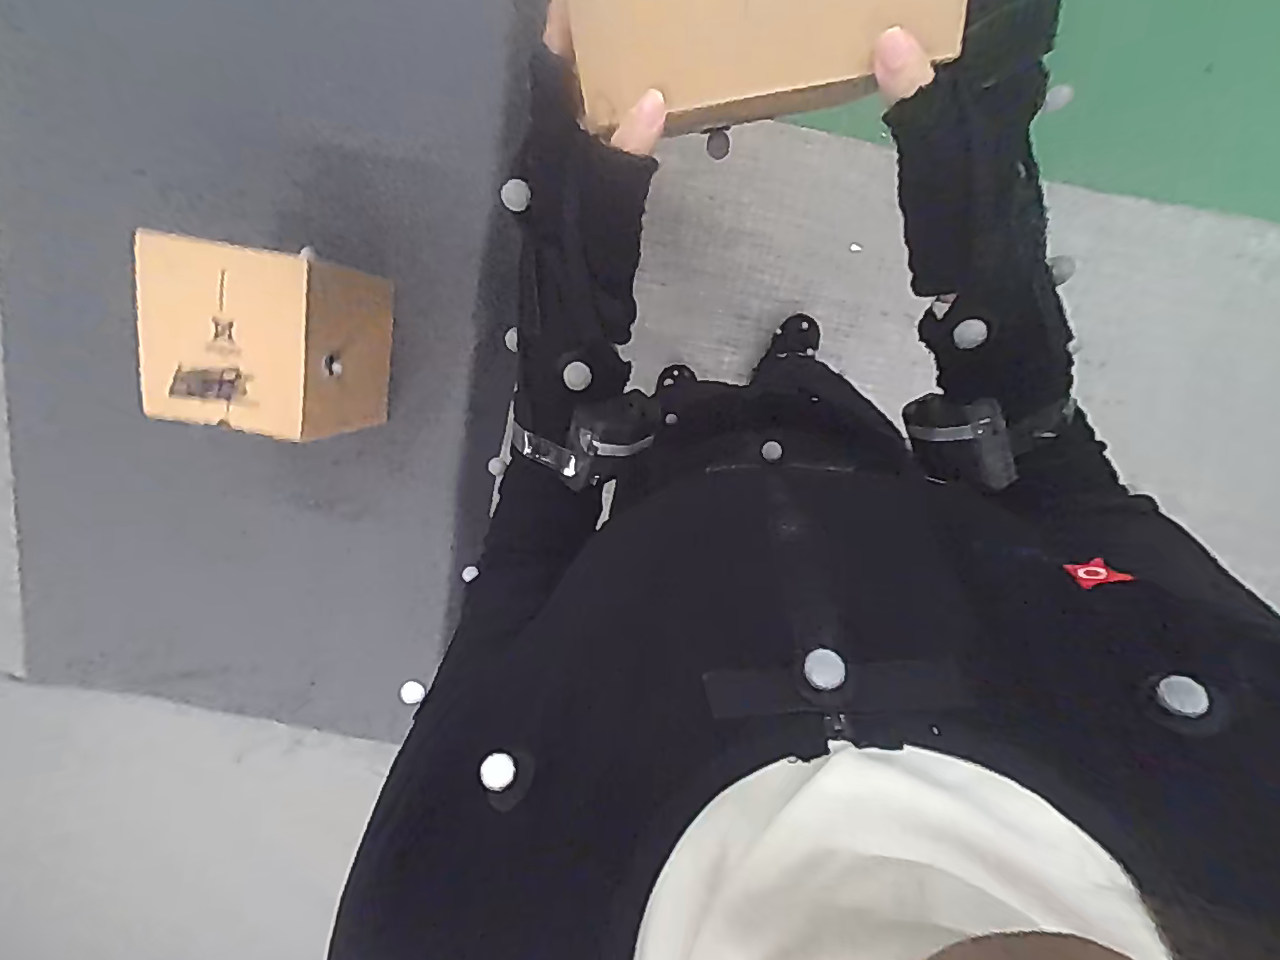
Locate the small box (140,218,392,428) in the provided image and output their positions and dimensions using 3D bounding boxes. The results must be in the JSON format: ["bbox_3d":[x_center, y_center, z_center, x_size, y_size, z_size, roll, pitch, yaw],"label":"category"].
[{"bbox_3d":[-0.400,-0.168,0.605,0.168,0.176,0.179,11,104,1],"label":"small box"}]

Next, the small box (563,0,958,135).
[{"bbox_3d":[0.046,-0.288,0.268,0.168,0.176,0.179,-5,120,6],"label":"small box"}]
